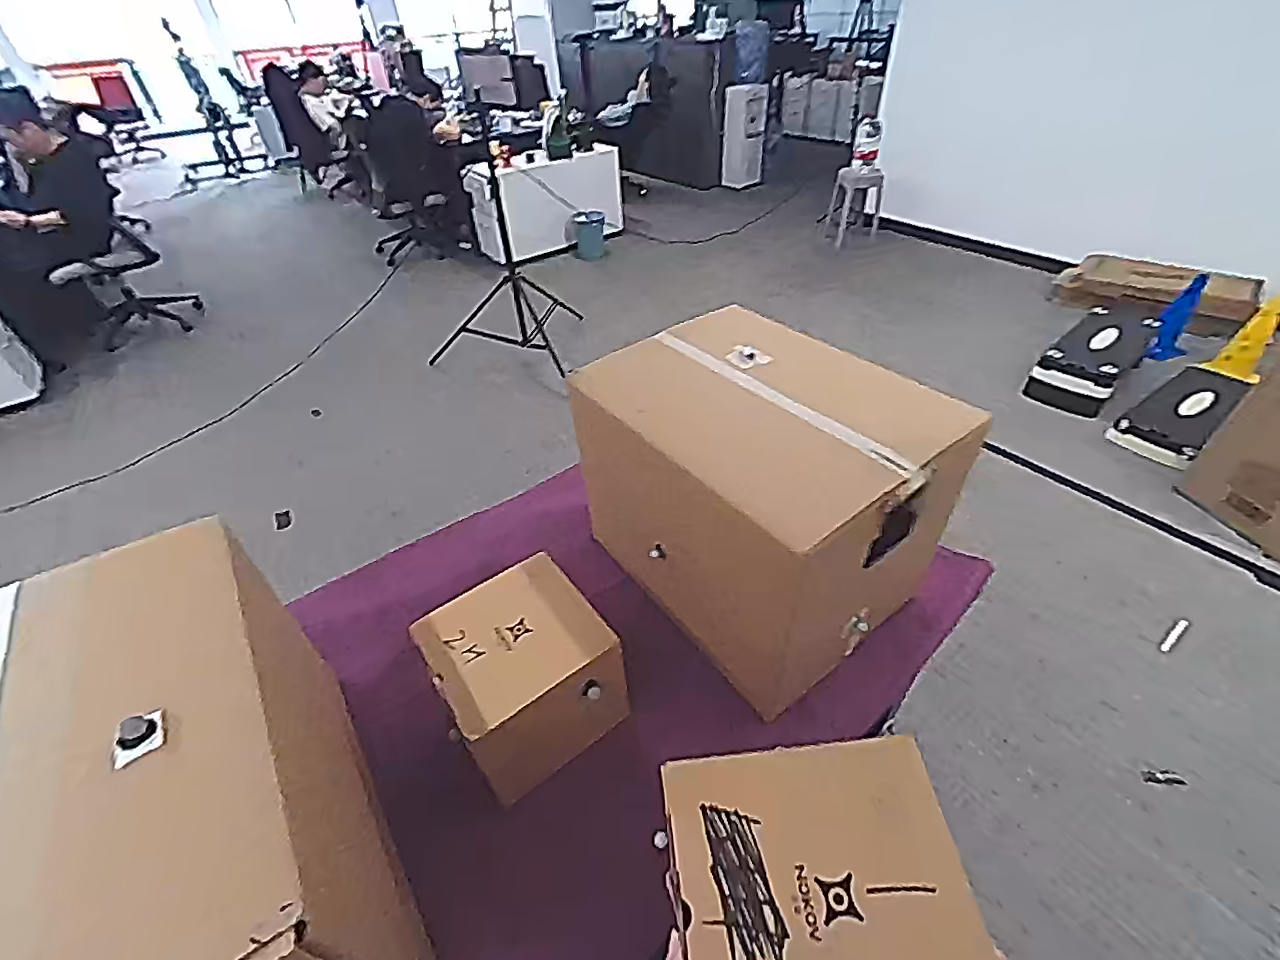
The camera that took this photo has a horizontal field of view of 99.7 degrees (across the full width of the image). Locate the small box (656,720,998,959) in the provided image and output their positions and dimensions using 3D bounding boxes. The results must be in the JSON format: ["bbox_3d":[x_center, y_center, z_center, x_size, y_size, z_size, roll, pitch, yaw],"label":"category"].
[{"bbox_3d":[0.109,0.286,0.381,0.179,0.176,0.168,-6,51,-1],"label":"small box"}]

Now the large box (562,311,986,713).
[{"bbox_3d":[0.149,0.014,0.738,0.320,0.320,0.408,-28,45,-26],"label":"large box"}]
